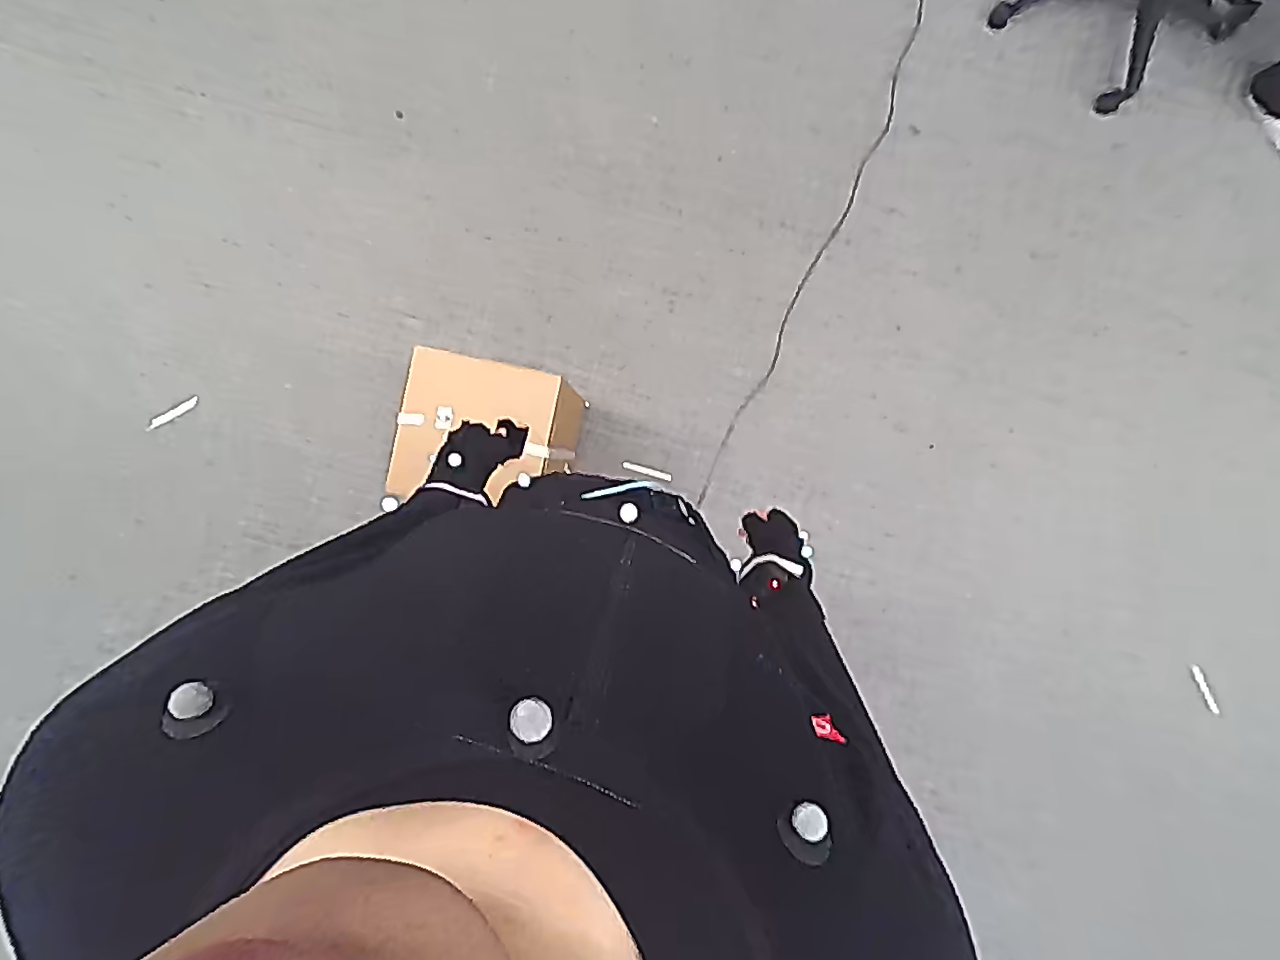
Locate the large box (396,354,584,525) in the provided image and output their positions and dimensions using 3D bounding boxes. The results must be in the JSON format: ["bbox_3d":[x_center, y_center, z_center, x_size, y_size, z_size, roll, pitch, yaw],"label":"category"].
[{"bbox_3d":[-0.335,-0.095,1.308,0.320,0.408,0.320,13,92,0],"label":"large box"}]
